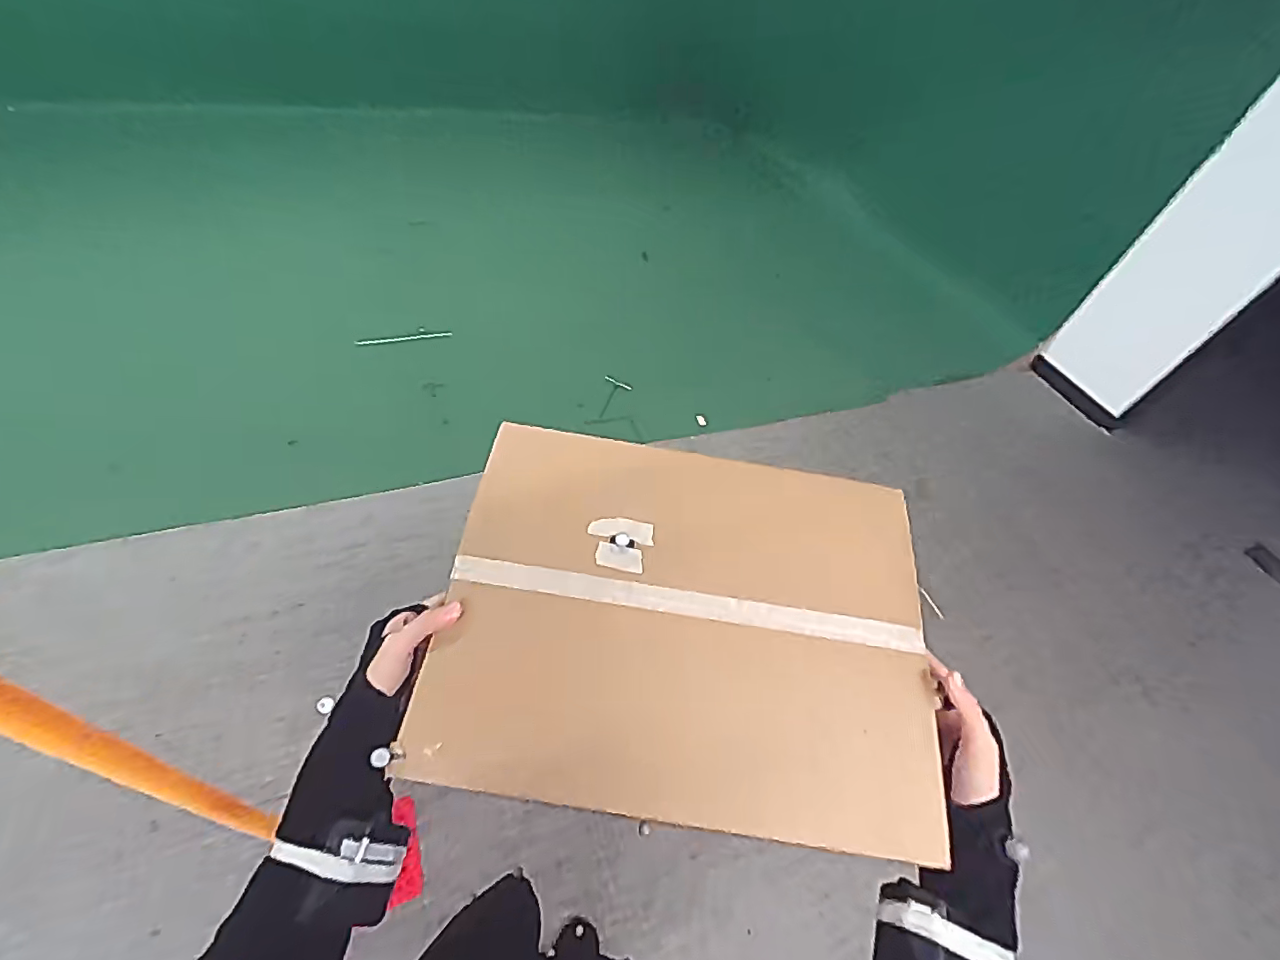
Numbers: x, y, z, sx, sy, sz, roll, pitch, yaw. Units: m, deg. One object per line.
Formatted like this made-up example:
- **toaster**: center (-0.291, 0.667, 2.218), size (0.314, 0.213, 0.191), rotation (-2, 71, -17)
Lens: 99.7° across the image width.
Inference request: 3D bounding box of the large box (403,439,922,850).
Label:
- **large box**: center (0.027, 0.188, 0.606), size (0.408, 0.320, 0.320), rotation (9, 60, 0)
